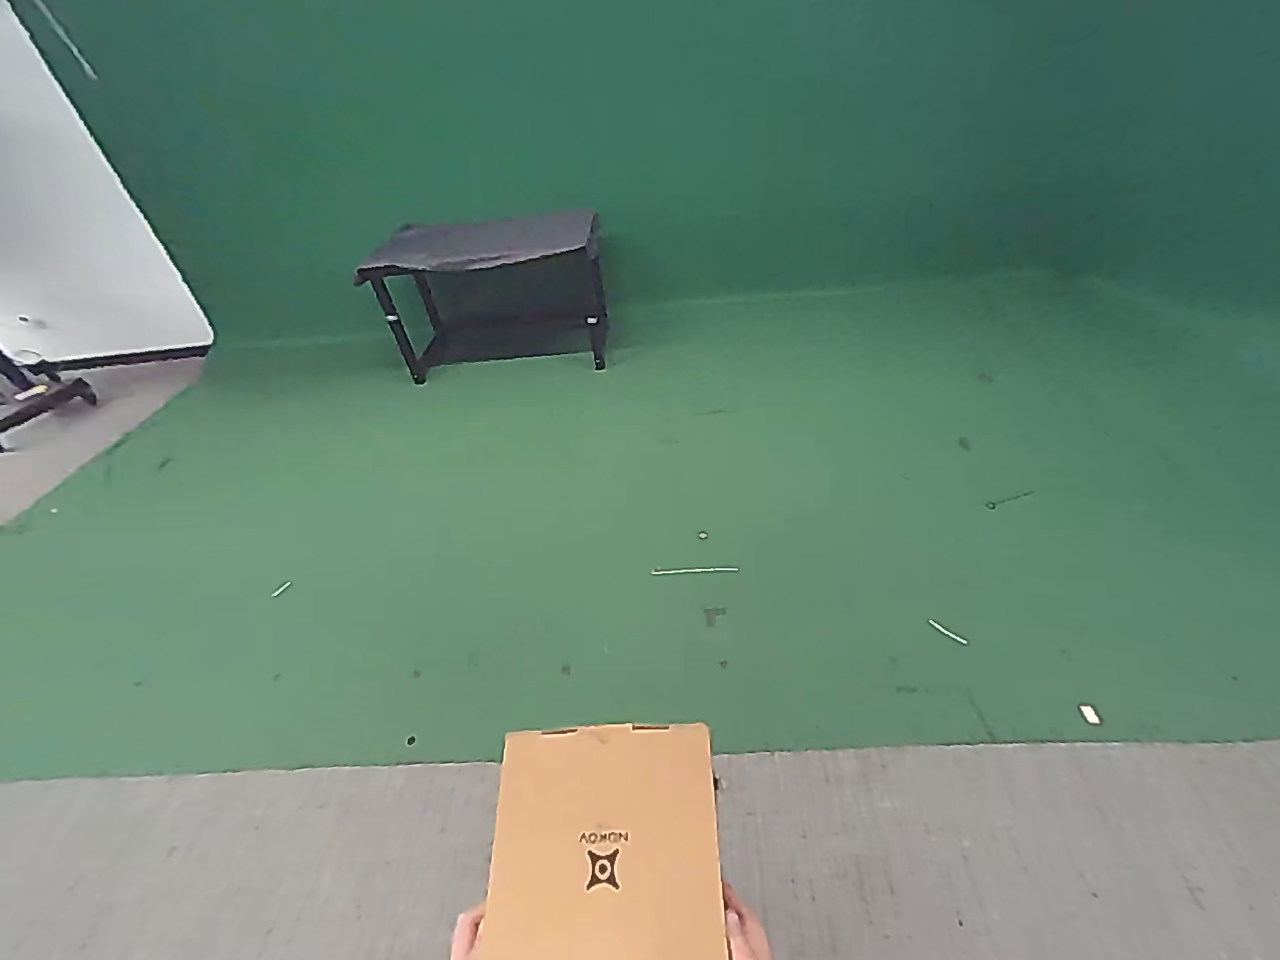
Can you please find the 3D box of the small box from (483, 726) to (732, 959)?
[{"bbox_3d":[-0.014,0.315,0.444,0.168,0.176,0.179,-5,53,4],"label":"small box"}]
